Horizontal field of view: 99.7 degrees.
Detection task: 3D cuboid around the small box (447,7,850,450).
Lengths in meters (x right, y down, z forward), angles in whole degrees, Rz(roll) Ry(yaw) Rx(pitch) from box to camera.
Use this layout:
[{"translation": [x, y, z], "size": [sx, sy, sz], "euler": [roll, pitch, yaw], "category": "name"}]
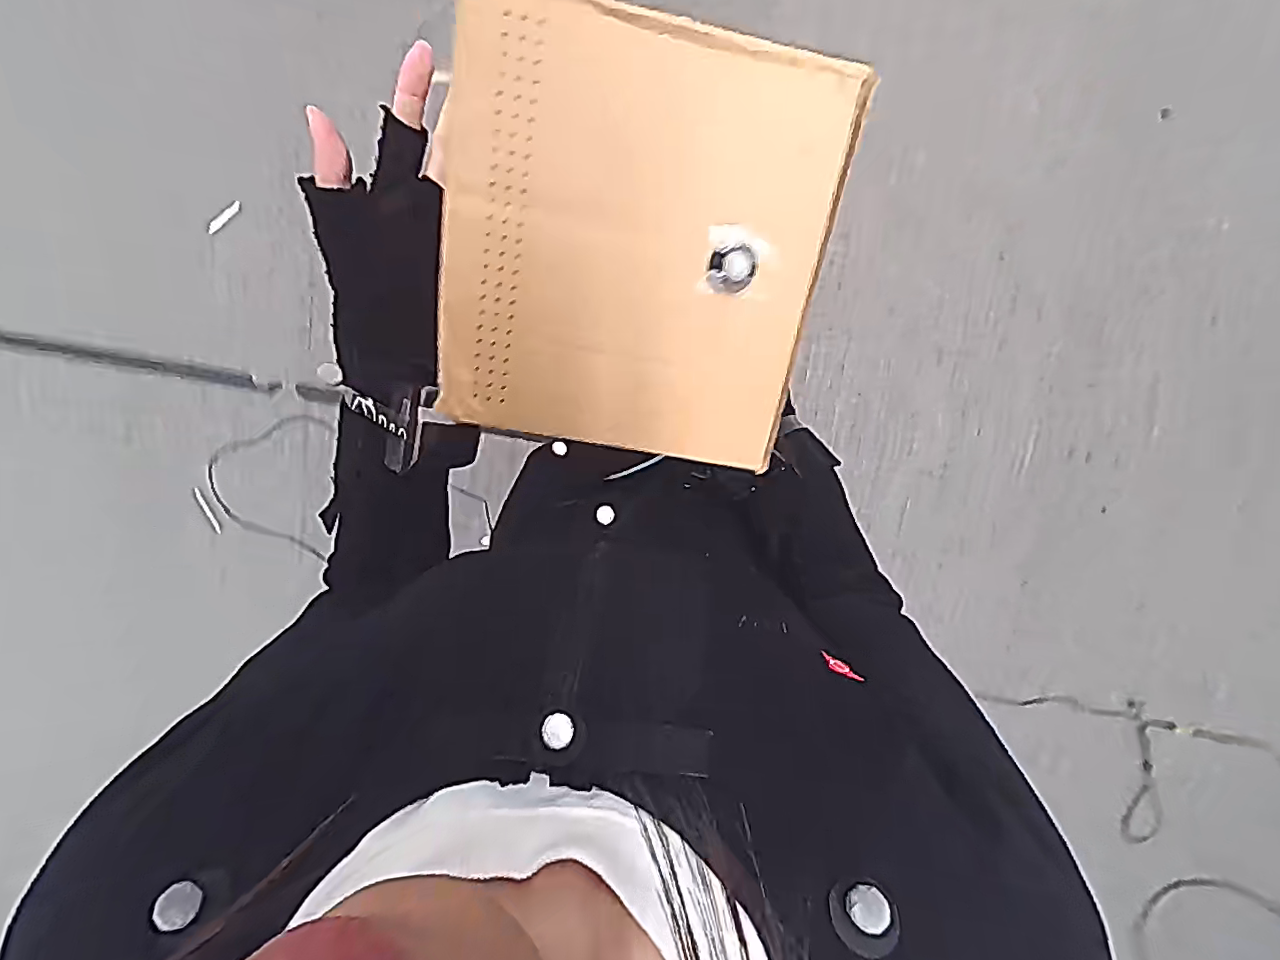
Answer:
[{"translation": [-0.010, -0.131, 0.324], "size": [0.176, 0.168, 0.179], "euler": [8, 108, -7], "category": "small box"}]
